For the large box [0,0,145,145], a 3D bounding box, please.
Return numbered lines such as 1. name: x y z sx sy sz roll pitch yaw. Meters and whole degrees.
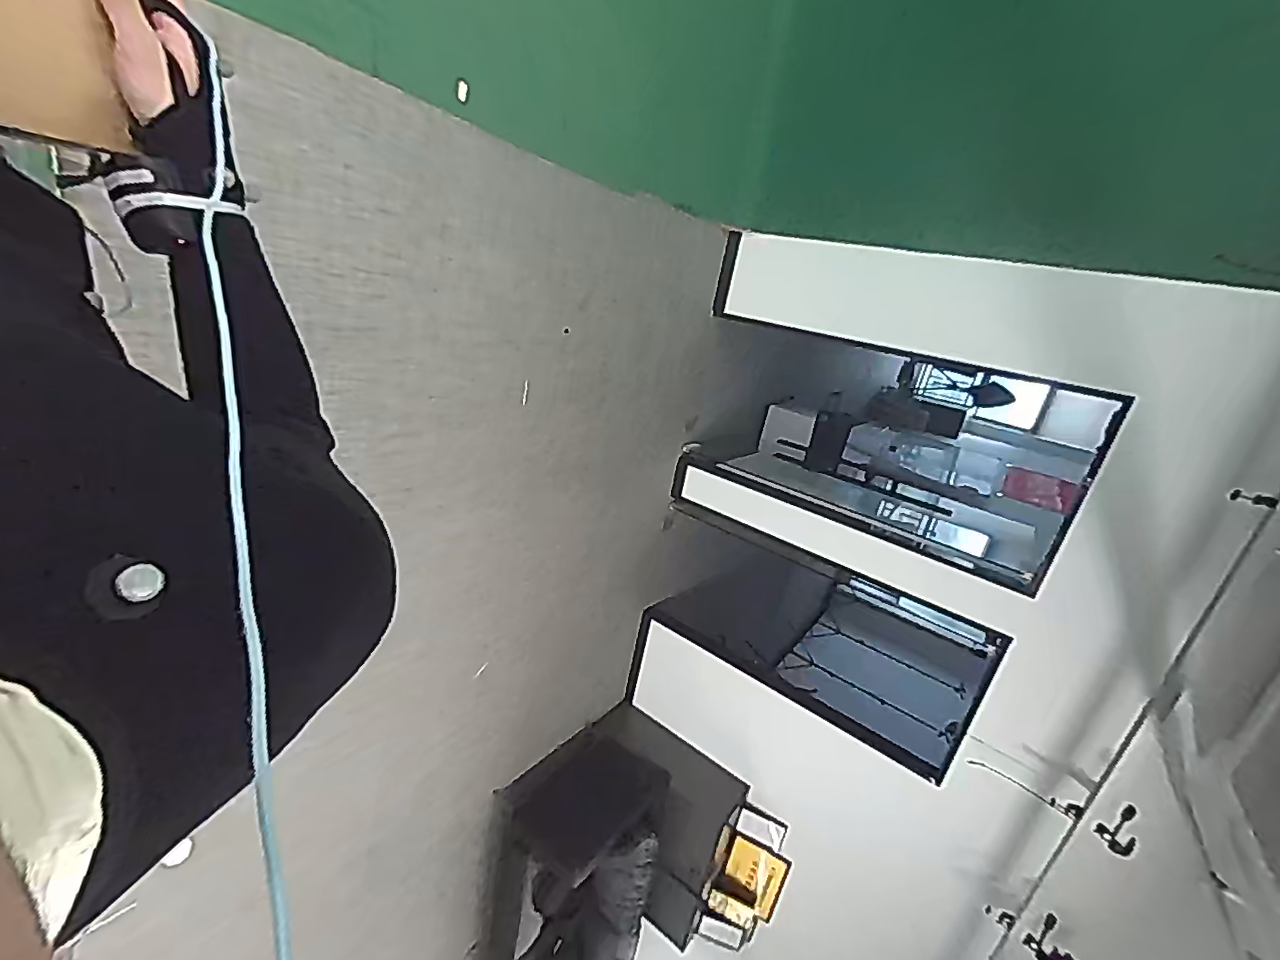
1. large box: -0.608 -0.428 0.313 0.408 0.320 0.320 -13 121 -52
